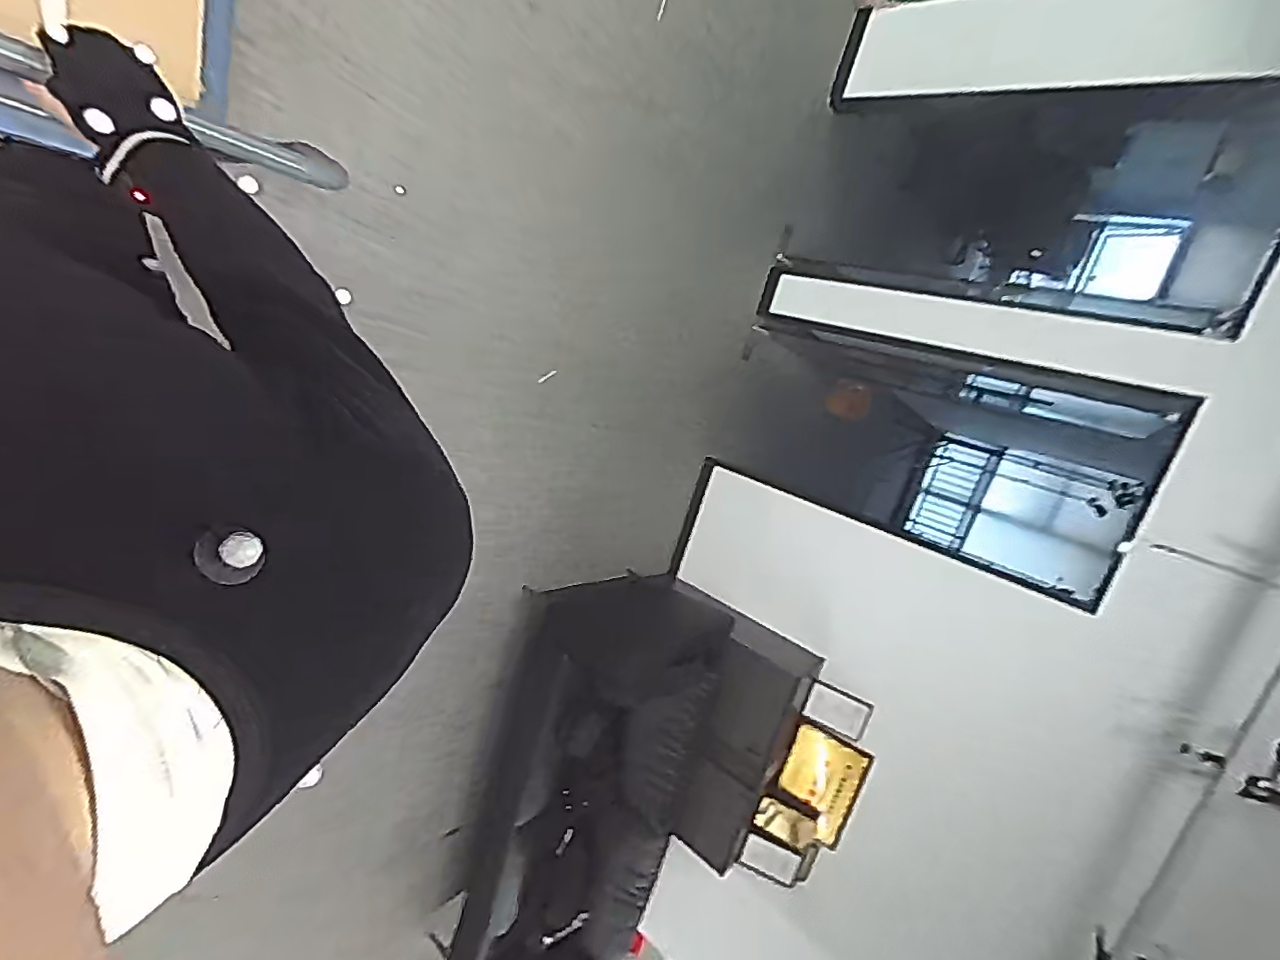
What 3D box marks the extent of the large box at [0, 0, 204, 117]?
[{"bbox_3d":[-0.838,-0.793,0.747,0.320,0.320,0.408,-5,114,-53],"label":"large box"}]
